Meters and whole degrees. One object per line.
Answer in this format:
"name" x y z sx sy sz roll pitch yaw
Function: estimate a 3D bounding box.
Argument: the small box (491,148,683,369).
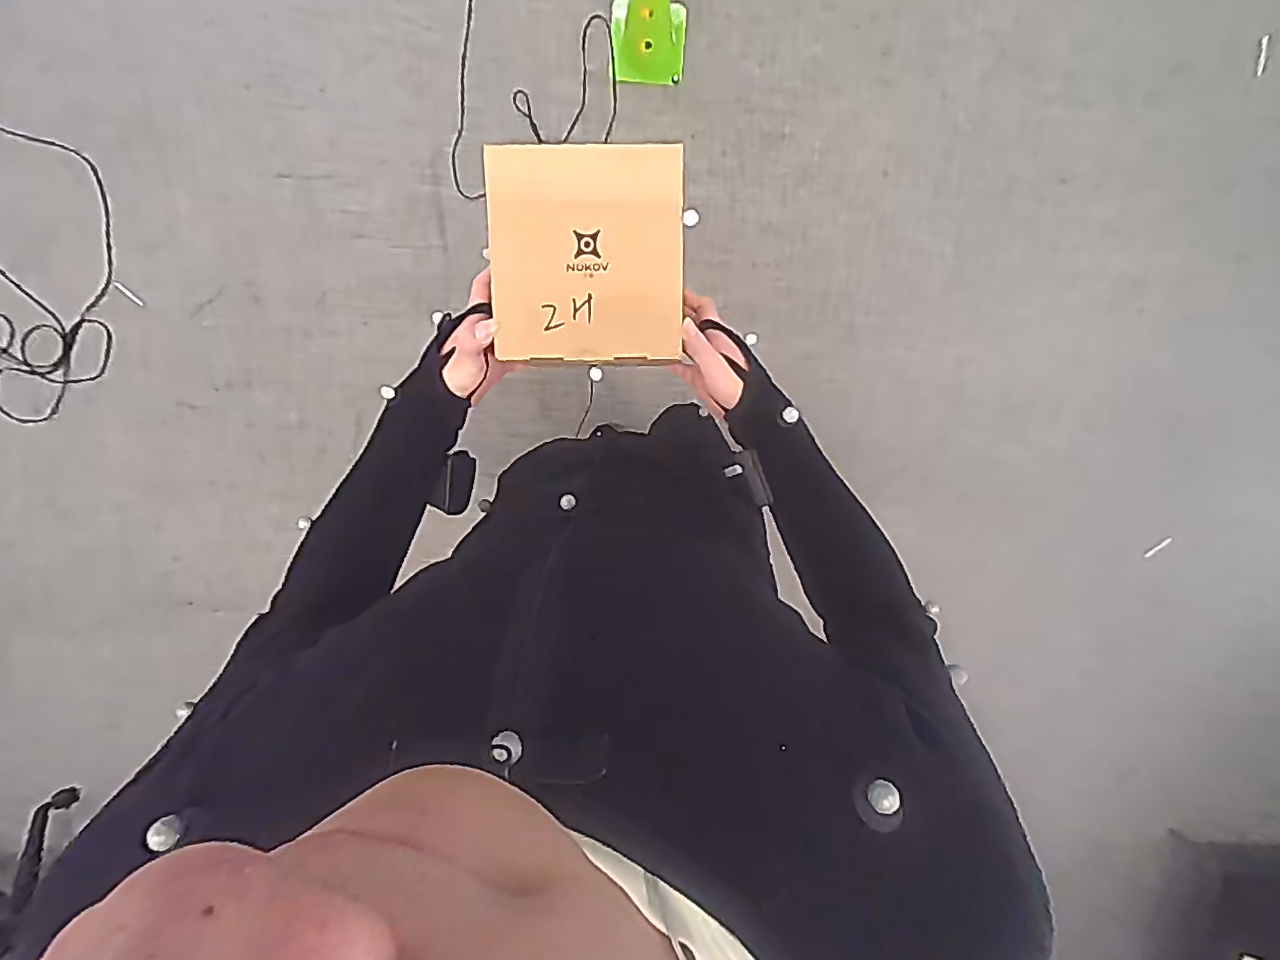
"small box" -0.048 -0.206 0.548 0.168 0.176 0.179 0 101 -1

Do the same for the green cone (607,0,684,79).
"green cone" 0.016 -1.169 1.283 0.202 0.368 0.200 4 98 -1
